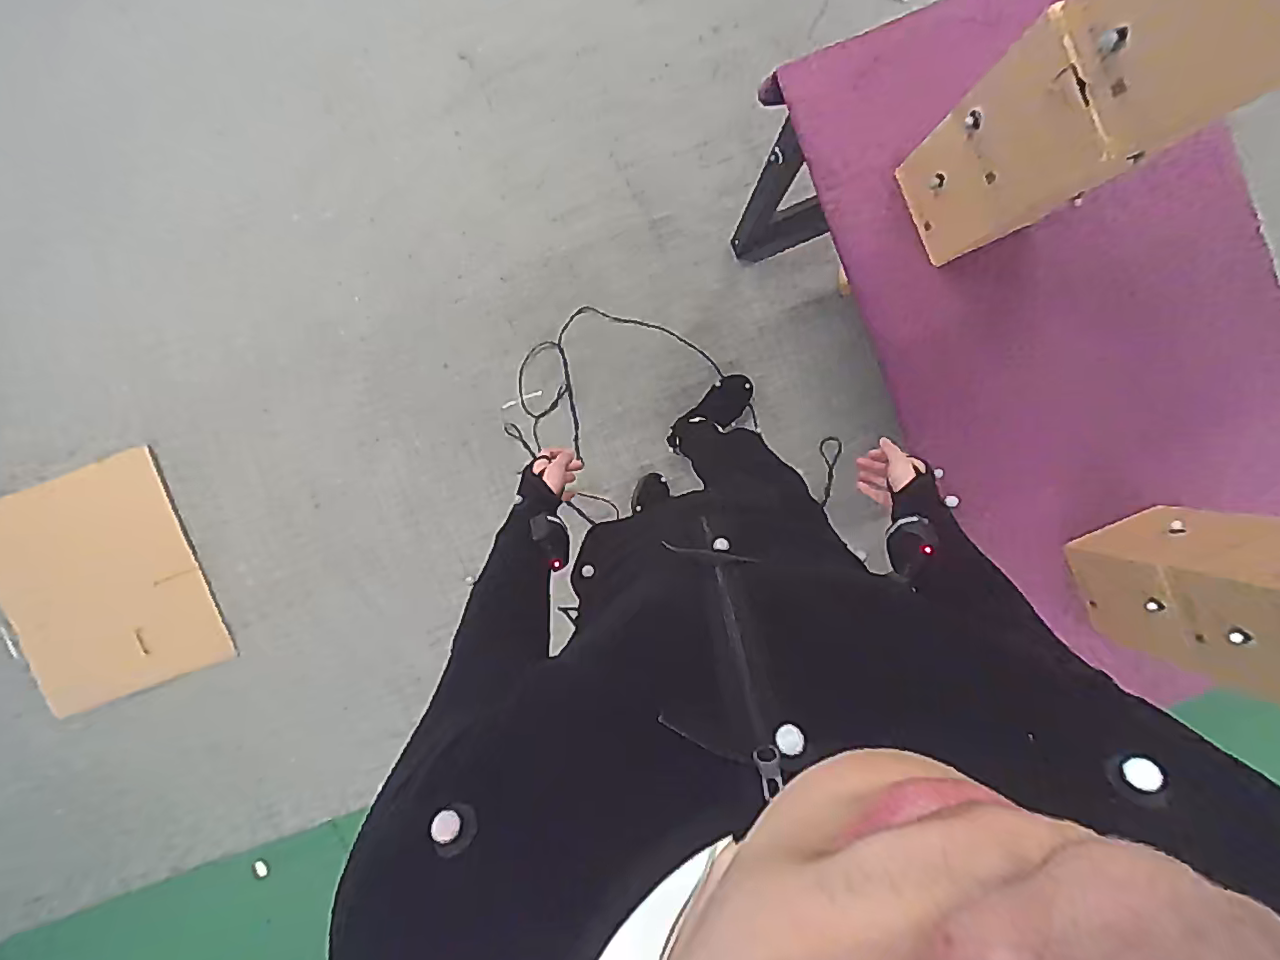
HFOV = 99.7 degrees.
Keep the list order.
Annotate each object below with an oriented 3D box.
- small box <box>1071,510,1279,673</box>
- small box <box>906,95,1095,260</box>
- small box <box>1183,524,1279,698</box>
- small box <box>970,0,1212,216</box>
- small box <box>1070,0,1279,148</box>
[{"bbox_3d":[0.812,0.153,0.809,0.179,0.176,0.168,-23,92,1],"label":"small box"},{"bbox_3d":[0.512,-0.445,0.771,0.179,0.176,0.168,-25,93,1],"label":"small box"},{"bbox_3d":[0.814,0.162,0.645,0.179,0.176,0.168,-21,94,1],"label":"small box"},{"bbox_3d":[0.511,-0.432,0.607,0.179,0.176,0.168,-24,94,0],"label":"small box"},{"bbox_3d":[0.520,-0.422,0.444,0.179,0.176,0.168,-24,93,1],"label":"small box"}]
